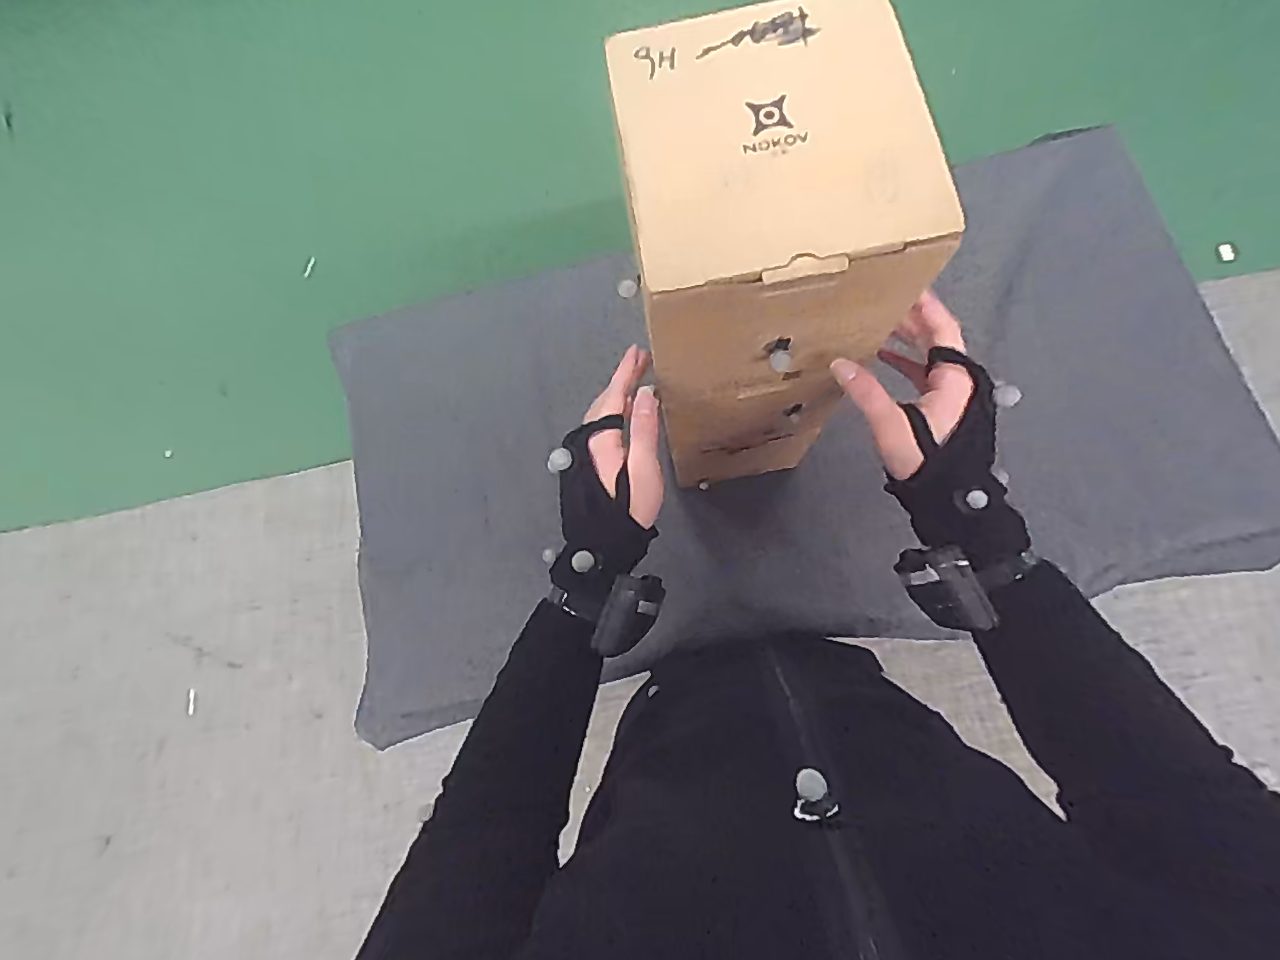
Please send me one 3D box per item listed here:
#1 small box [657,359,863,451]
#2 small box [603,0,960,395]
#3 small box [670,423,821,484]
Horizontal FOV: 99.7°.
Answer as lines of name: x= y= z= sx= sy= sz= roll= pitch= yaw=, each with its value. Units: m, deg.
small box: x=0.094 y=-0.137 z=0.531 sx=0.168 sy=0.176 sz=0.179 roll=-11 pitch=76 yaw=3
small box: x=0.077 y=-0.169 z=0.370 sx=0.168 sy=0.176 sz=0.179 roll=-9 pitch=78 yaw=2
small box: x=0.114 y=-0.100 z=0.686 sx=0.168 sy=0.176 sz=0.179 roll=-12 pitch=75 yaw=4
